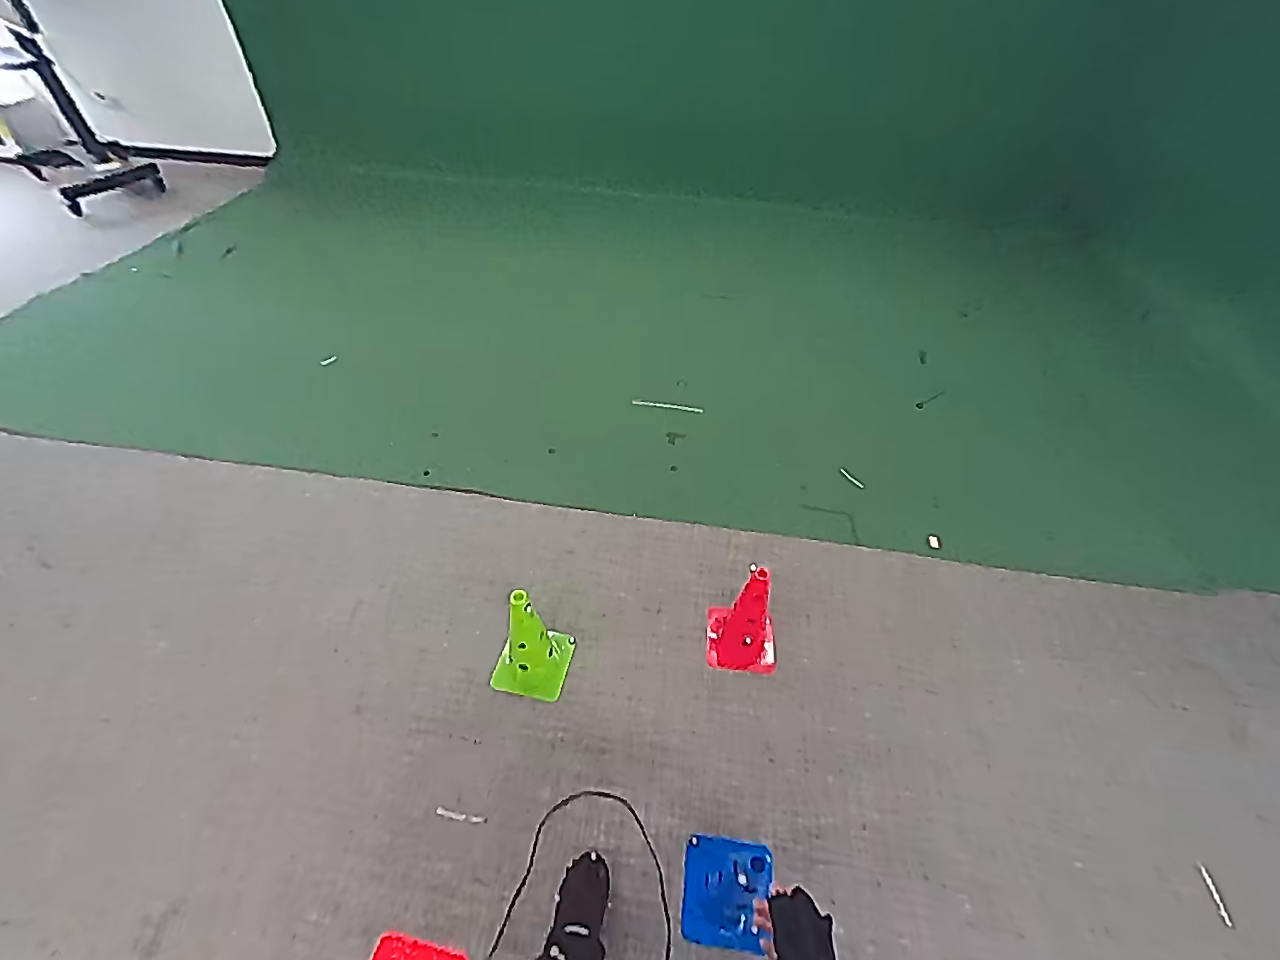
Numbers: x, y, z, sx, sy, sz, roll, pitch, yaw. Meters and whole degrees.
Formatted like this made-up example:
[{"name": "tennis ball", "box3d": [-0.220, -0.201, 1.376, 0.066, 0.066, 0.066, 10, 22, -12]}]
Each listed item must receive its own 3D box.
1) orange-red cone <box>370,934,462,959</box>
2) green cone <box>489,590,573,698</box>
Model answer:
[{"name": "orange-red cone", "box3d": [-0.459, 0.914, 0.935, 0.198, 0.360, 0.199, 12, 45, 7]}, {"name": "green cone", "box3d": [-0.306, 0.398, 1.431, 0.200, 0.368, 0.202, 9, 48, 6]}]
